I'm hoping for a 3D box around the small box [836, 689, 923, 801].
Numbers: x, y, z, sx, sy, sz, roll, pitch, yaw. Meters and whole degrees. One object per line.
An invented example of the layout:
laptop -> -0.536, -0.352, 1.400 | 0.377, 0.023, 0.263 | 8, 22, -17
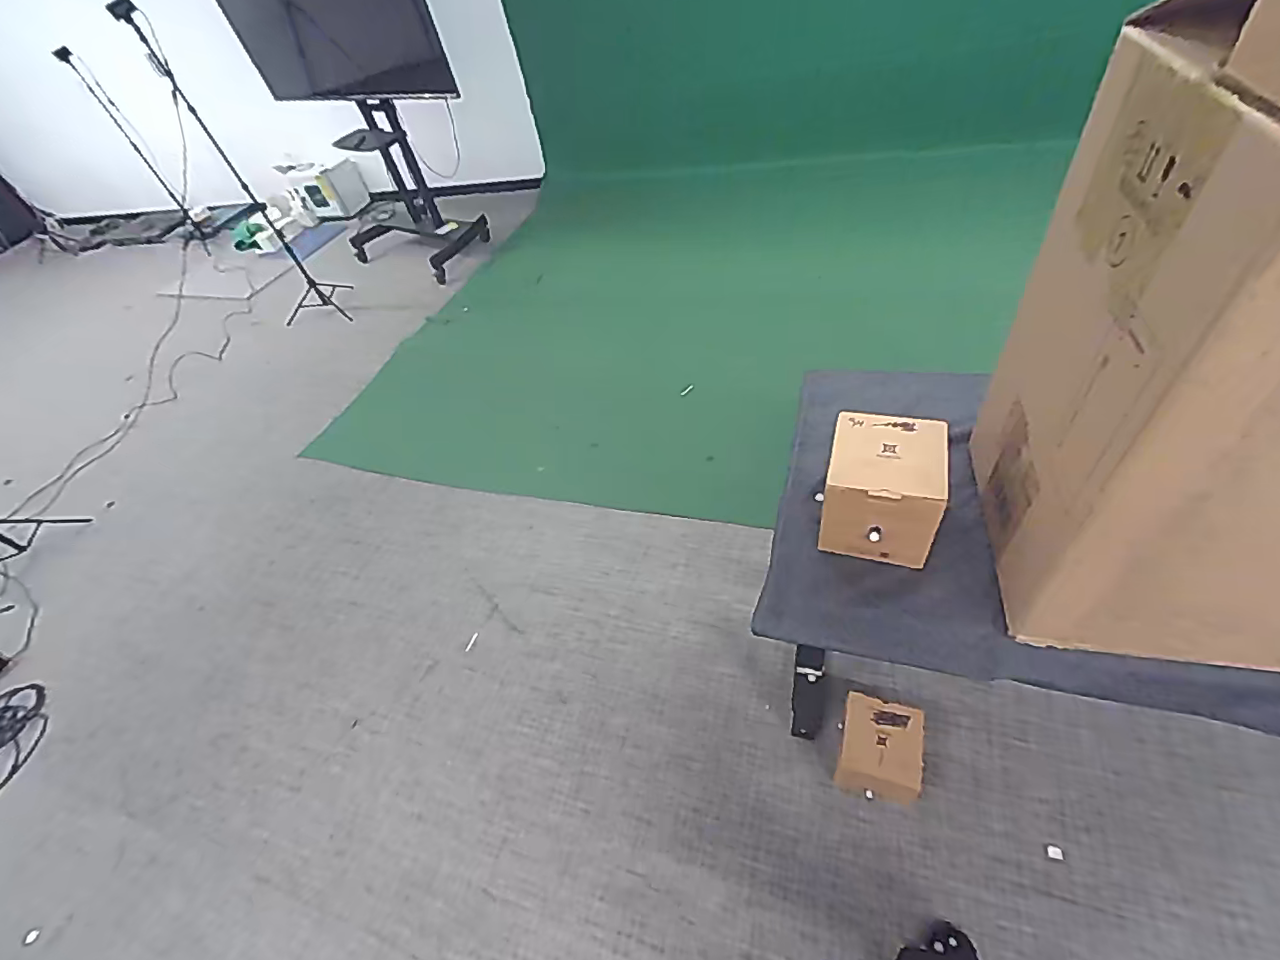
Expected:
small box -> 0.571, 0.636, 1.298 | 0.168, 0.176, 0.179 | 8, 53, 22
